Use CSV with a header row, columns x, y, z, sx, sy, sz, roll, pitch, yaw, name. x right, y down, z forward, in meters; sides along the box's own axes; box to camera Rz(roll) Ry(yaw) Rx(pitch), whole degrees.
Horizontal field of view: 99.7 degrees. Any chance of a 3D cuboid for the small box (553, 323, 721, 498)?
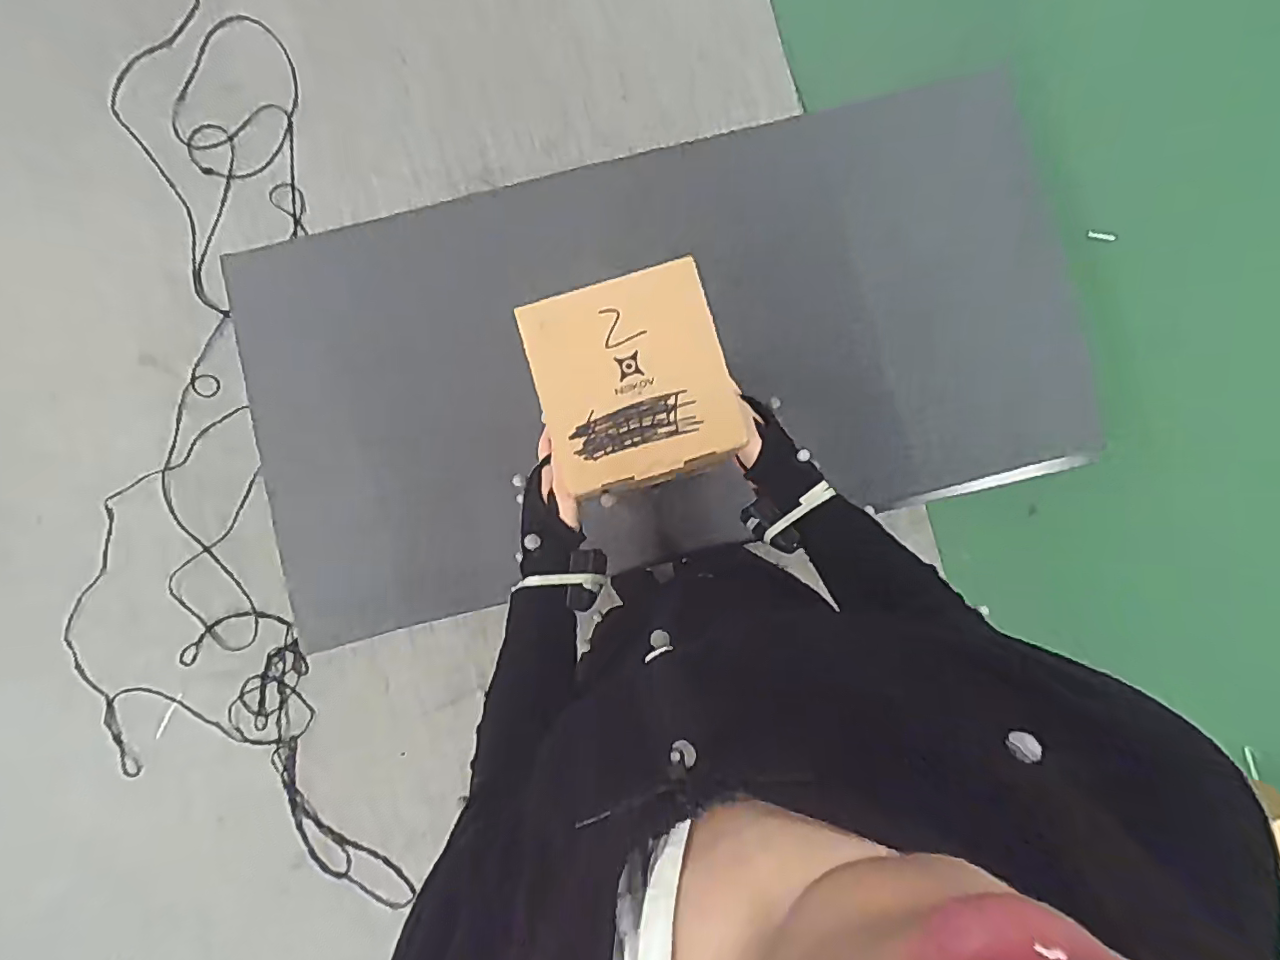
x,y,z,sx,sy,sz,roll,pitch,yaw,name
-0.003,-0.079,0.717,0.168,0.176,0.179,-16,87,1,small box
